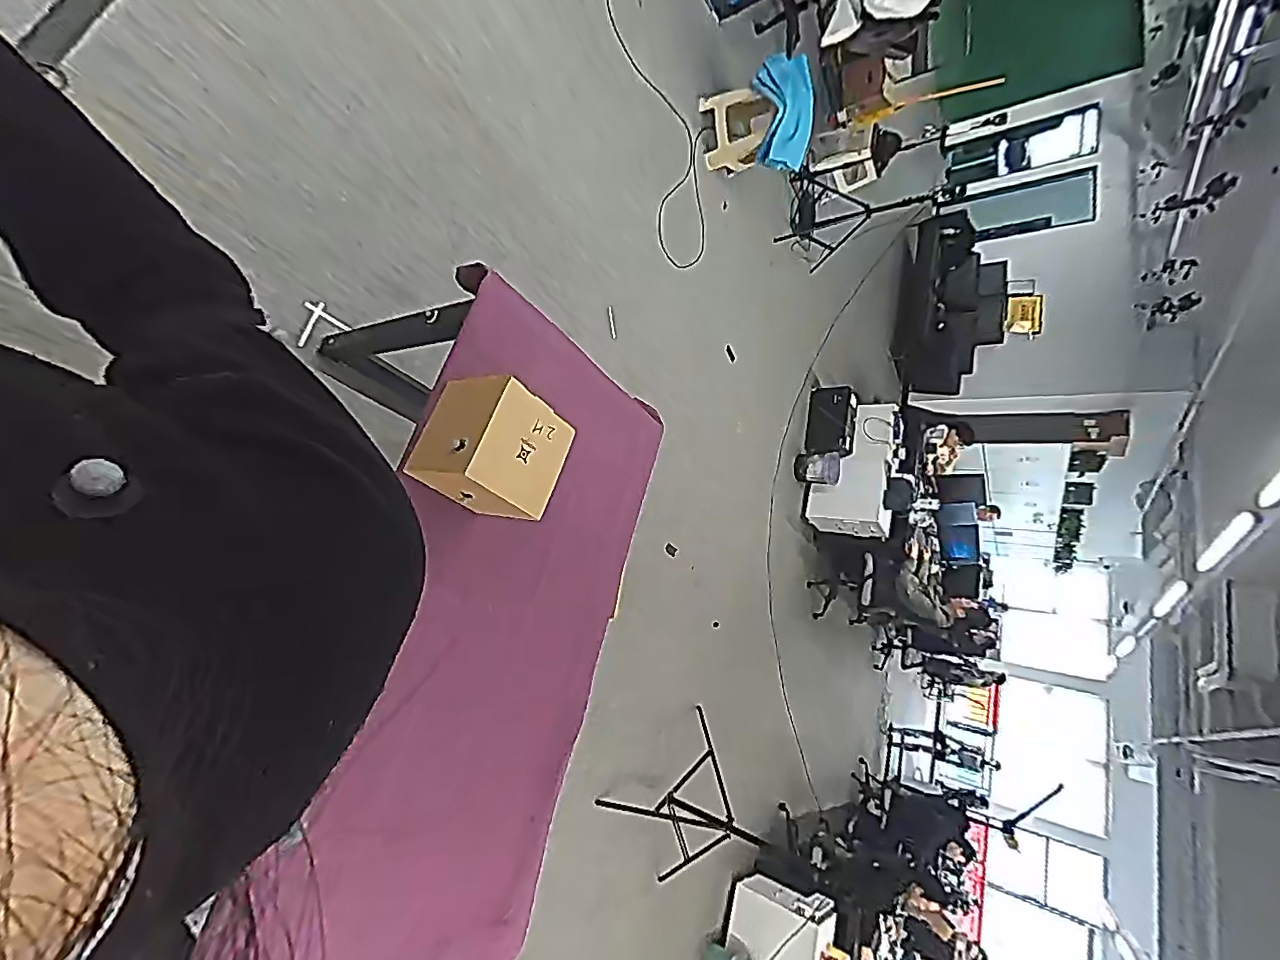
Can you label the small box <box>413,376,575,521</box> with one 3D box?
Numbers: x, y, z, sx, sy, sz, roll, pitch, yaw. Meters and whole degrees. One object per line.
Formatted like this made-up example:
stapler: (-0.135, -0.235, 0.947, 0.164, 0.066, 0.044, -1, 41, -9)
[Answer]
small box: (-0.244, -0.049, 0.899, 0.168, 0.176, 0.179, 42, 59, -47)
